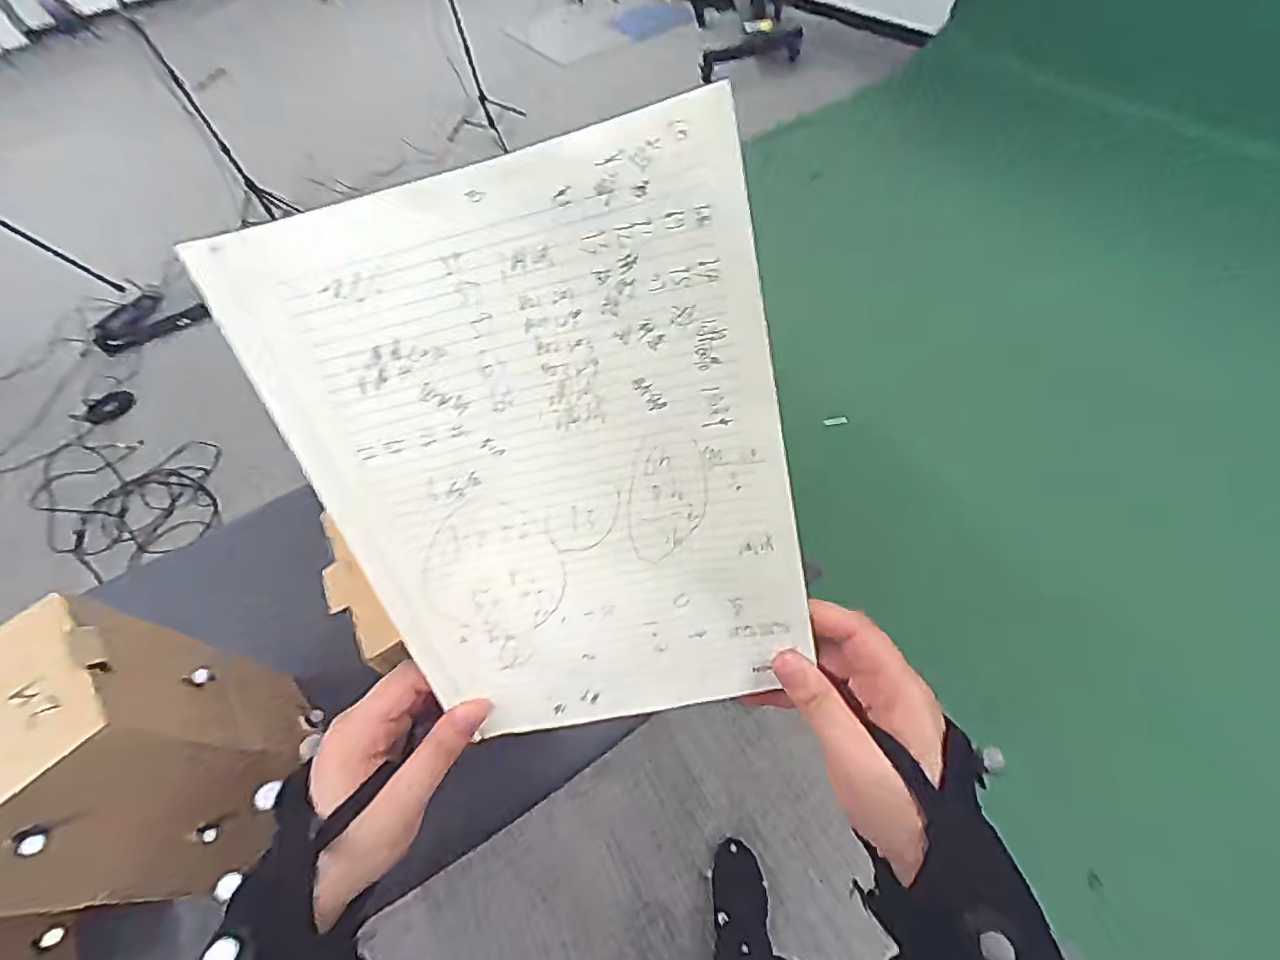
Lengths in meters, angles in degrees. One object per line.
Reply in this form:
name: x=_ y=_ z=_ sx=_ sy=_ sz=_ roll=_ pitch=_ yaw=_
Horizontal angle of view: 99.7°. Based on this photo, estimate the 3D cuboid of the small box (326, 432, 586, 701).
small box: x=-0.168 y=0.091 z=0.544 sx=0.179 sy=0.176 sz=0.168 roll=-31 pitch=57 yaw=-12

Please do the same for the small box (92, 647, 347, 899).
small box: x=-0.490 y=0.333 z=0.626 sx=0.168 sy=0.176 sz=0.179 roll=34 pitch=67 yaw=26

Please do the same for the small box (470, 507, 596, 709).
small box: x=-0.164 y=0.166 z=0.690 sx=0.168 sy=0.176 sz=0.179 roll=-17 pitch=56 yaw=-3

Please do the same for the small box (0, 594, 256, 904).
small box: x=-0.508 y=0.244 z=0.489 sx=0.168 sy=0.176 sz=0.179 roll=37 pitch=68 yaw=27
